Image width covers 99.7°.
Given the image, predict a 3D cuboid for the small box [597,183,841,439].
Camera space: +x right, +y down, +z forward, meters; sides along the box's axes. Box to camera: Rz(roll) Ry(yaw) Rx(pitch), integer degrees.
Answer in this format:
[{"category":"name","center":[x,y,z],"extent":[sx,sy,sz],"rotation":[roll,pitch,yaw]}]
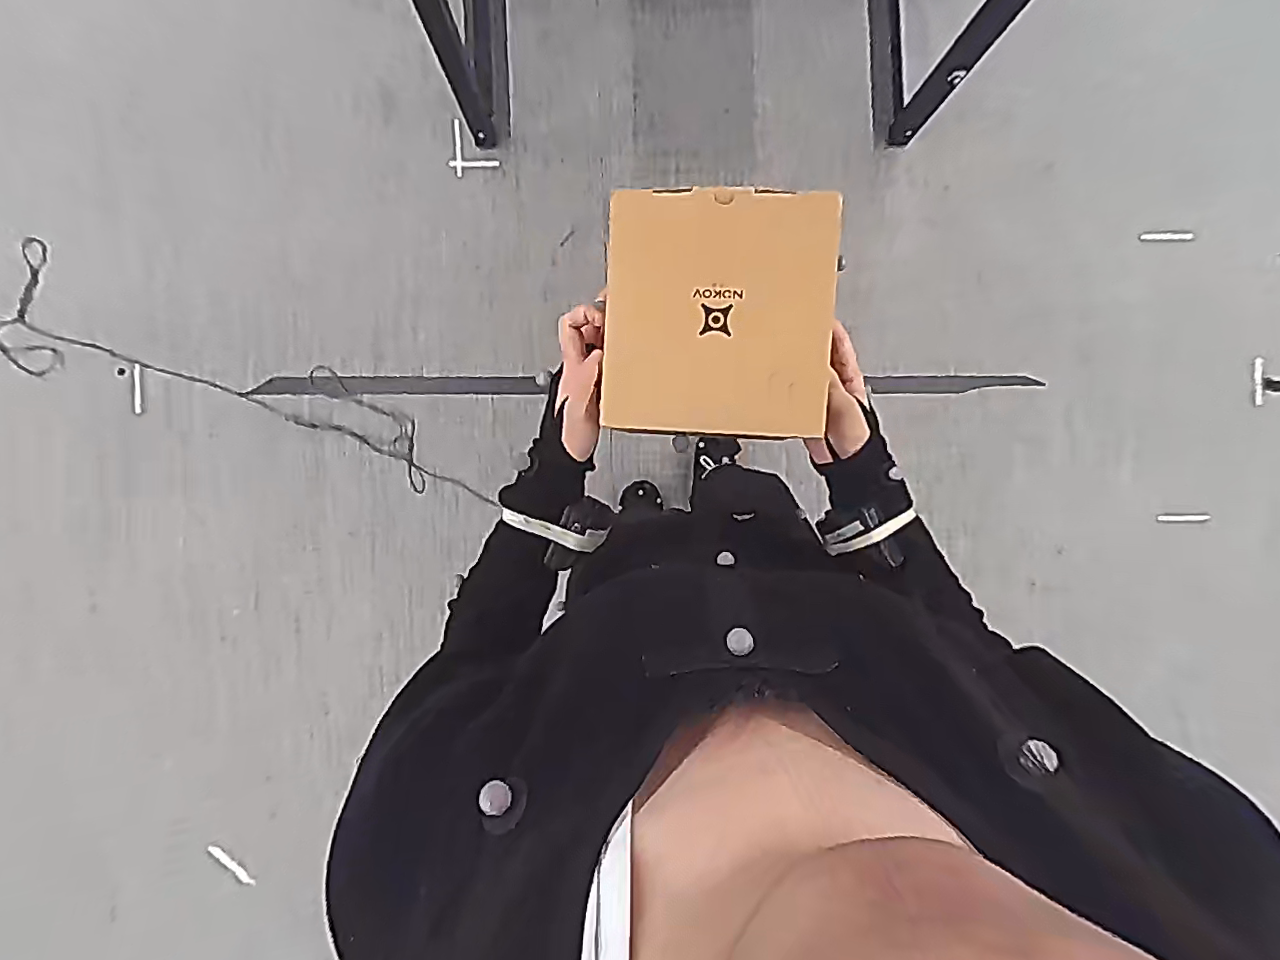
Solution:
[{"category":"small box","center":[0.062,-0.127,0.468],"extent":[0.168,0.176,0.179],"rotation":[4,93,5]}]
